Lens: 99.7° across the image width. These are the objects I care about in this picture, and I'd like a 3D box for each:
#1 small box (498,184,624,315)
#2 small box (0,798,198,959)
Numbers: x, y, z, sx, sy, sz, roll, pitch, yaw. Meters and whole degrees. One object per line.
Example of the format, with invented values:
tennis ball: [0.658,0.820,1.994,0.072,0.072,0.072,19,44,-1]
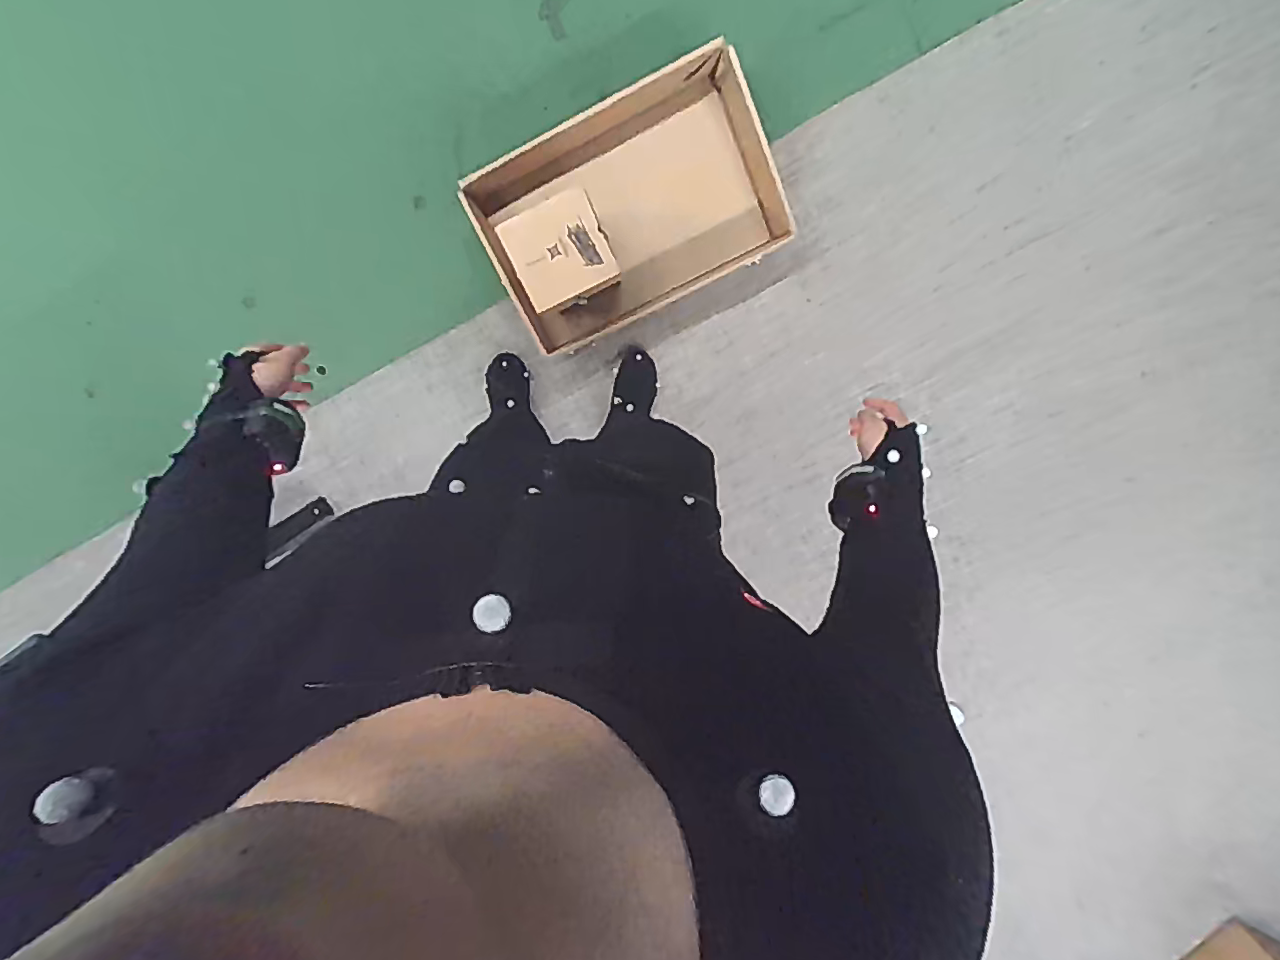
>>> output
small box: [-0.143,-0.432,1.035,0.179,0.176,0.168,-24,106,6]
small box: [-0.818,0.616,0.793,0.168,0.176,0.179,-23,105,5]
